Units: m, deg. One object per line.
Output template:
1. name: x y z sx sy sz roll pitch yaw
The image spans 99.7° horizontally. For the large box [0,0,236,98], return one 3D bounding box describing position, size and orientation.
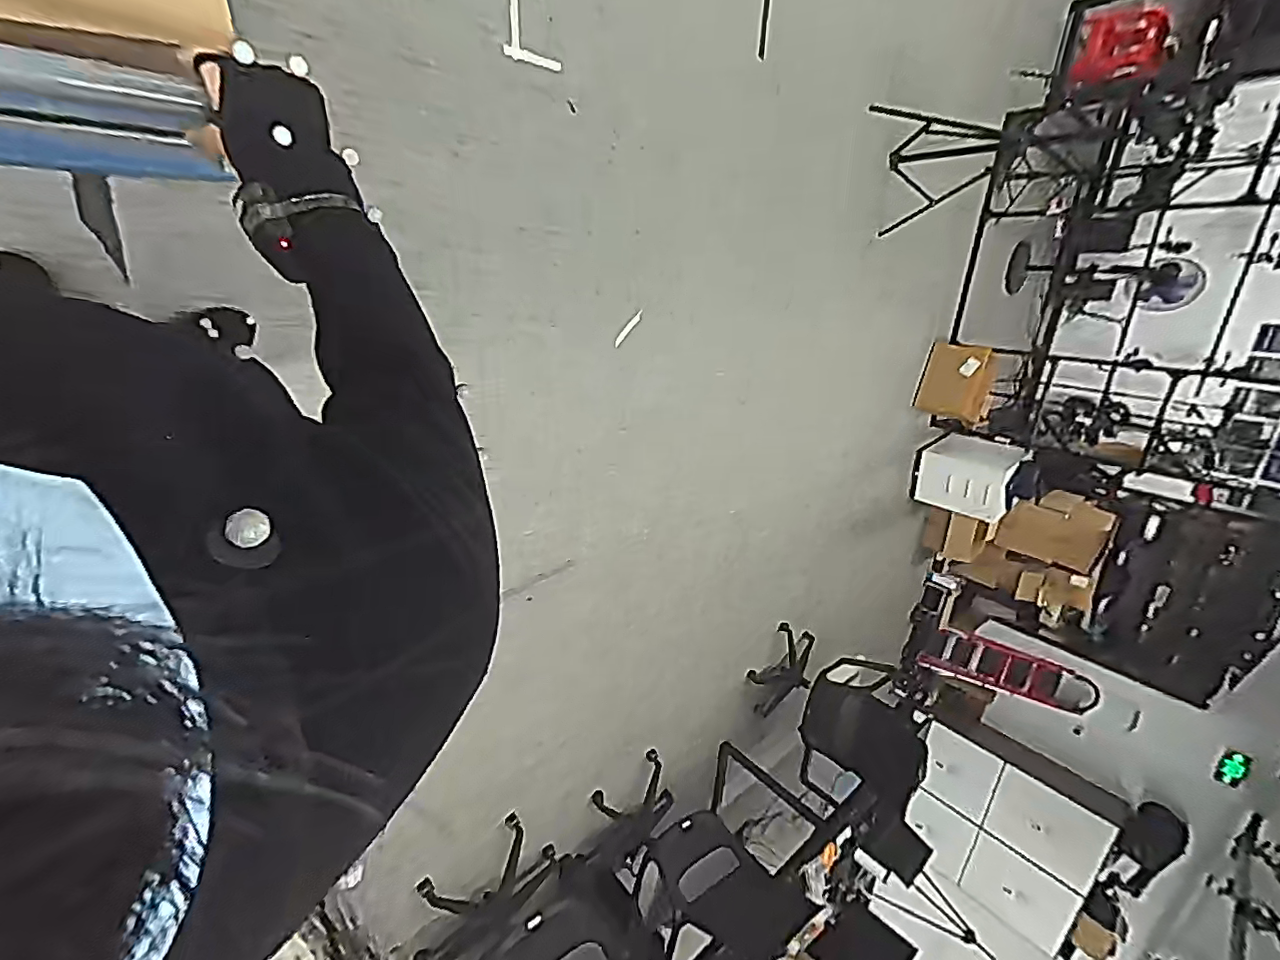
1. large box: -0.801 -0.697 0.655 0.408 0.320 0.320 -22 122 -38
